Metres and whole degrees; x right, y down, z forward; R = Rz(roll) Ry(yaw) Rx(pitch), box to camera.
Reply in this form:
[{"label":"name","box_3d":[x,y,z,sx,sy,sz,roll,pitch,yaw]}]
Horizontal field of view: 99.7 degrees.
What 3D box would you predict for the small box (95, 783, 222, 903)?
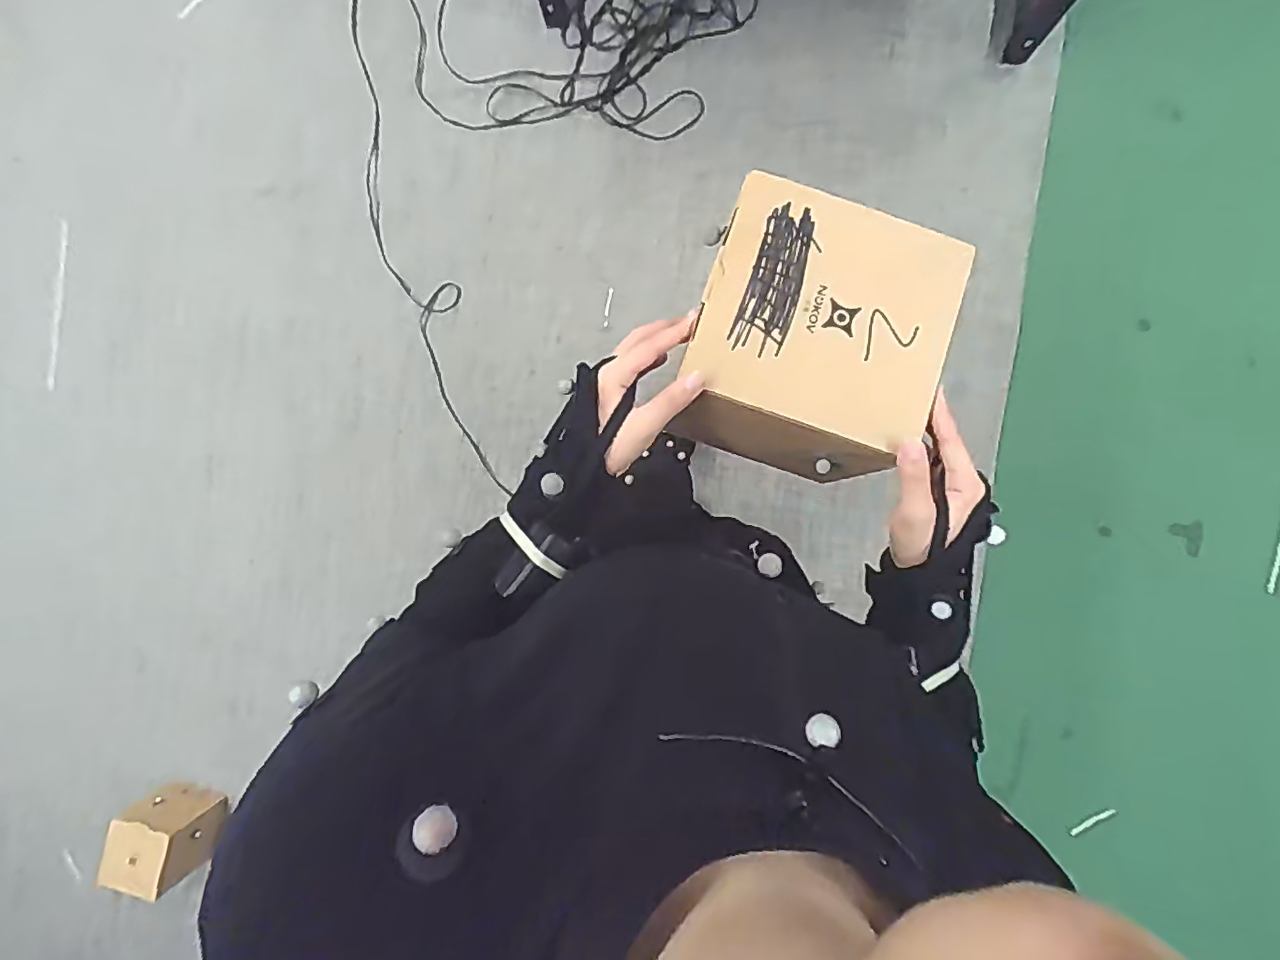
[{"label":"small box","box_3d":[-1.233,0.925,1.397,0.168,0.176,0.179,14,93,6]}]
